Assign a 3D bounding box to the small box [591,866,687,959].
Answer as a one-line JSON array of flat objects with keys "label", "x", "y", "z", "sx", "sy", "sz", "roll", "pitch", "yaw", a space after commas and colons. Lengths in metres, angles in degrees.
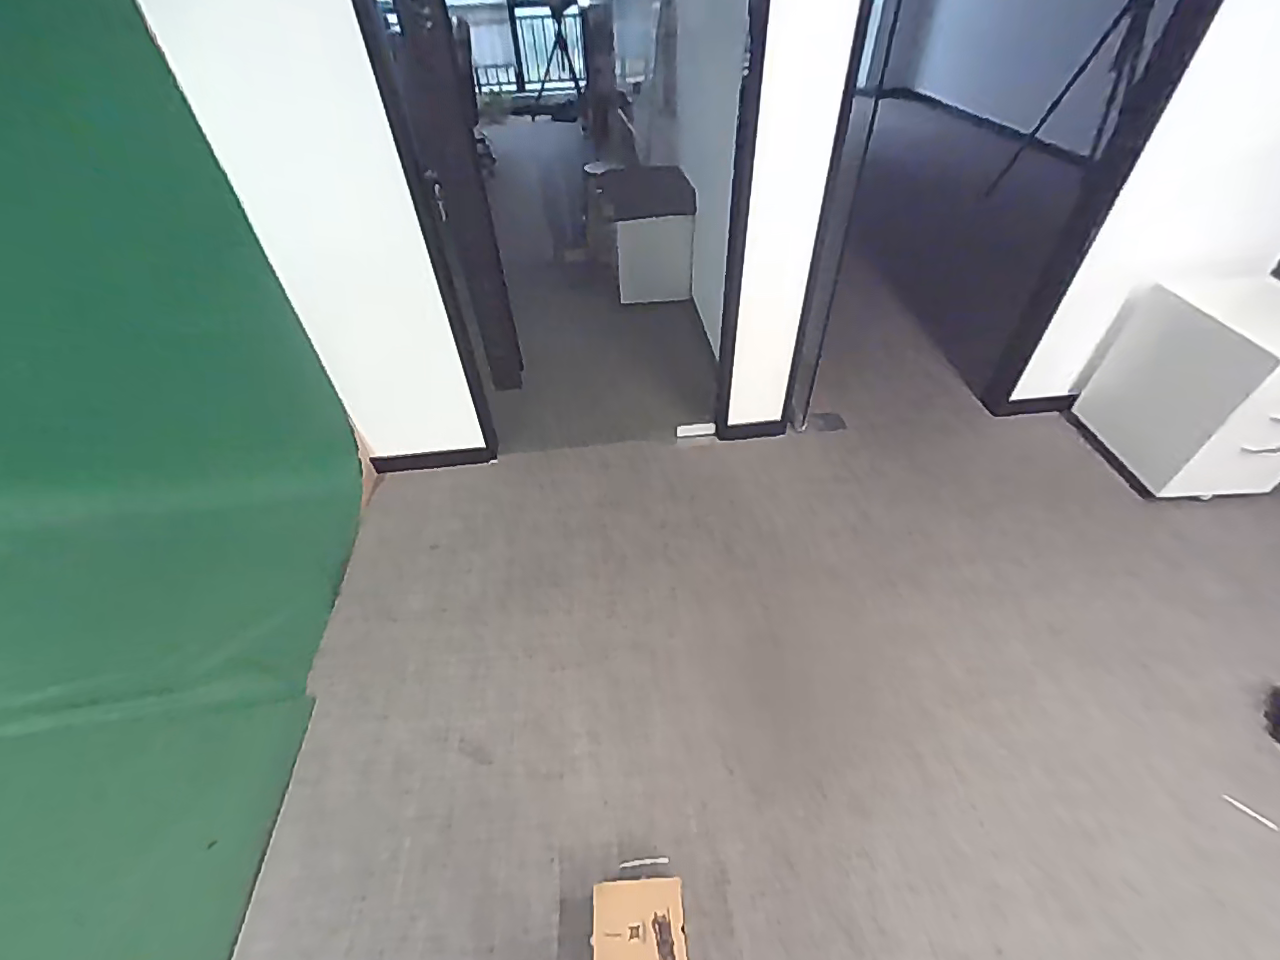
[{"label": "small box", "x": -0.003, "y": 0.892, "z": 1.082, "sx": 0.179, "sy": 0.176, "sz": 0.168, "roll": -4, "pitch": 44, "yaw": 0}]
